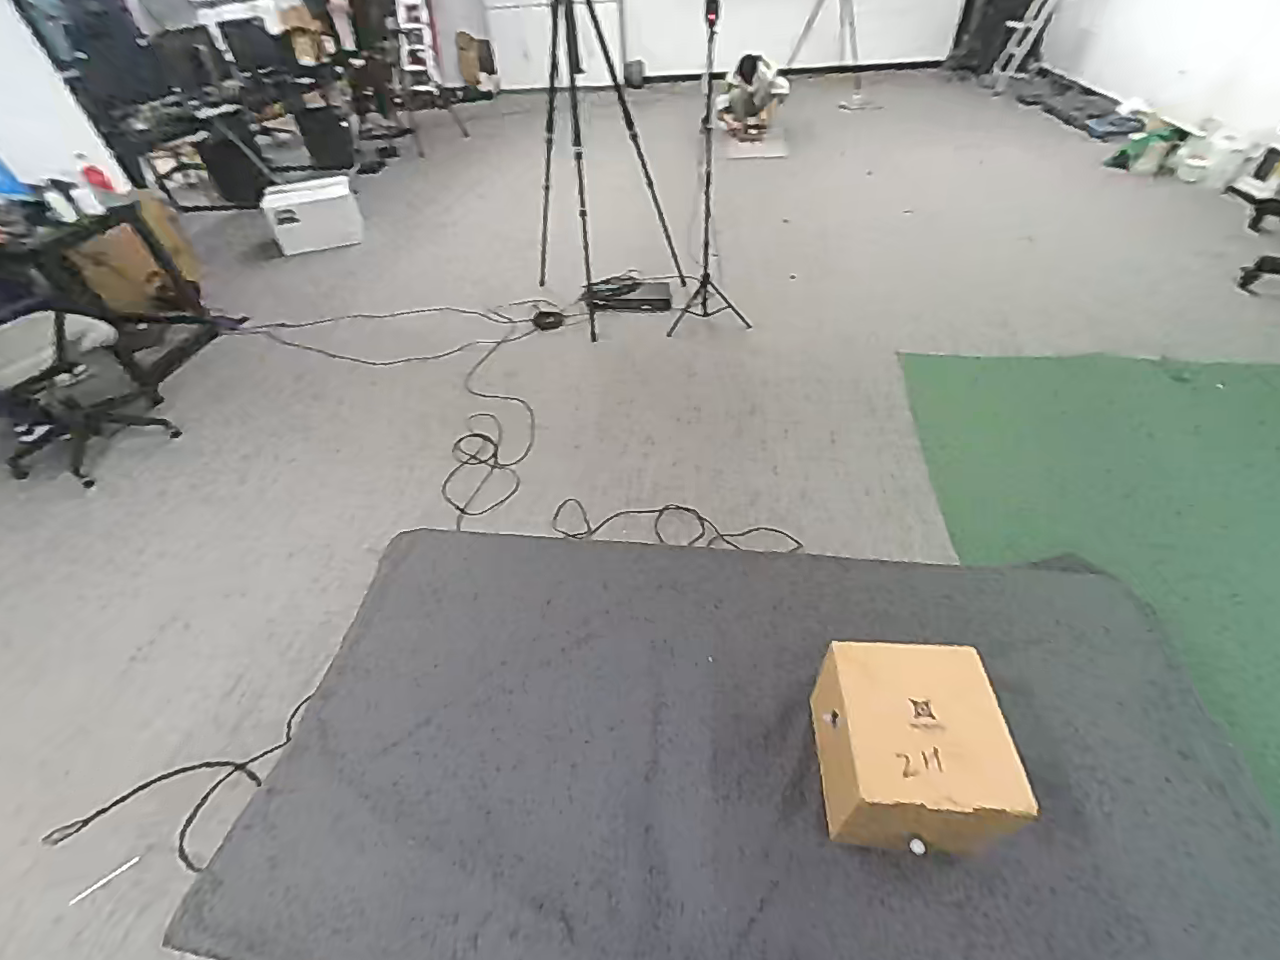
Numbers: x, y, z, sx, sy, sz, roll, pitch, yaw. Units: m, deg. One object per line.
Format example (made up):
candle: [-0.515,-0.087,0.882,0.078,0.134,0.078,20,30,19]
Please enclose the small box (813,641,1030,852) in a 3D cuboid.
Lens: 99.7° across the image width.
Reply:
small box: [0.310,0.316,0.646,0.168,0.176,0.179,1,45,7]
